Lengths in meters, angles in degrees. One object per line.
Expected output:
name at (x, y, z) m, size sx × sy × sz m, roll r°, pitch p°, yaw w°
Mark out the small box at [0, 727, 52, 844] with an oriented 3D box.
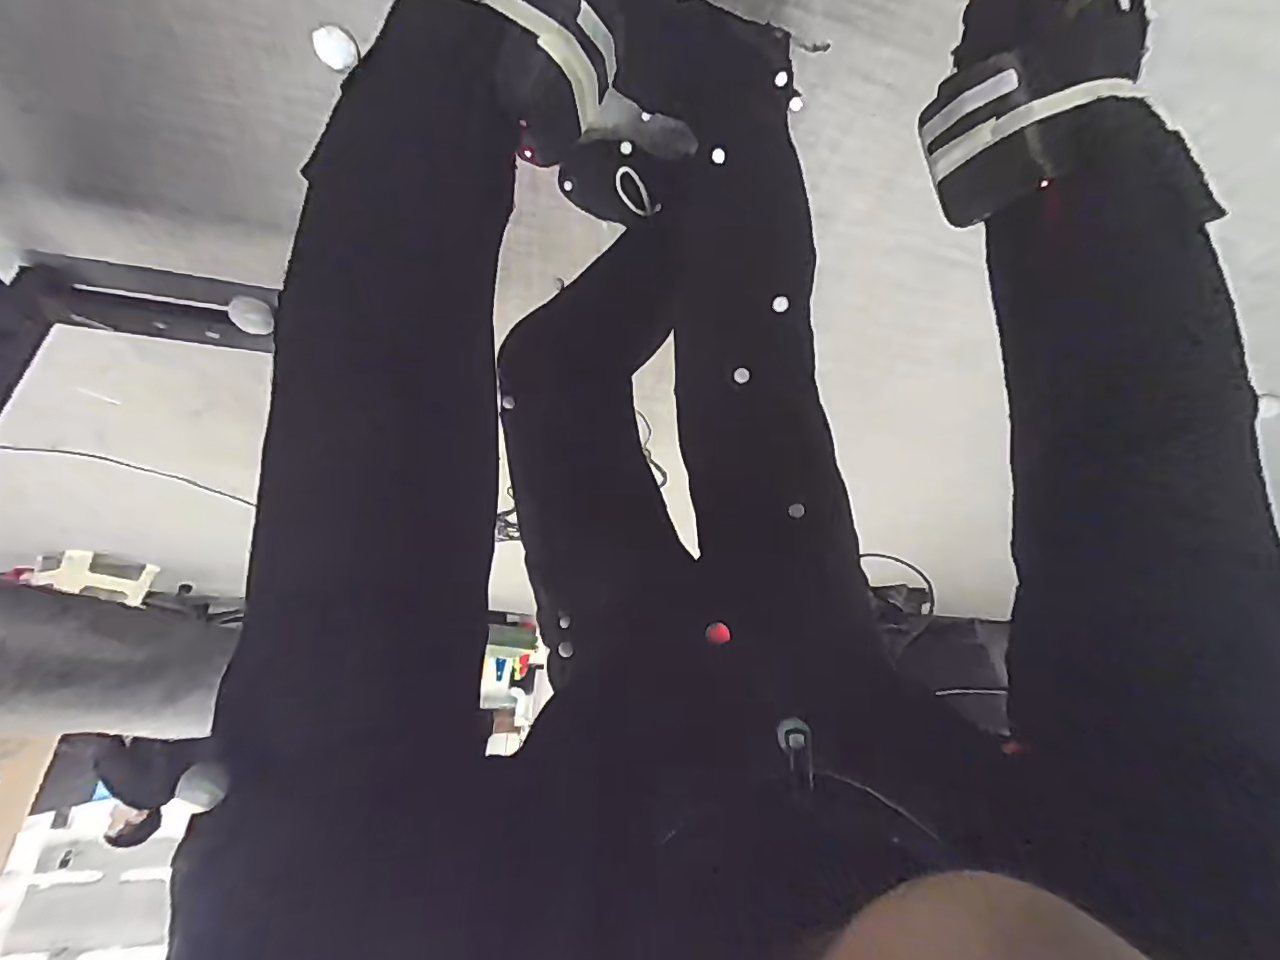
small box at (-0.635, 0.276, 0.409) m, size 0.179 × 0.176 × 0.168 m, roll 5°, pitch 154°, yaw -10°
